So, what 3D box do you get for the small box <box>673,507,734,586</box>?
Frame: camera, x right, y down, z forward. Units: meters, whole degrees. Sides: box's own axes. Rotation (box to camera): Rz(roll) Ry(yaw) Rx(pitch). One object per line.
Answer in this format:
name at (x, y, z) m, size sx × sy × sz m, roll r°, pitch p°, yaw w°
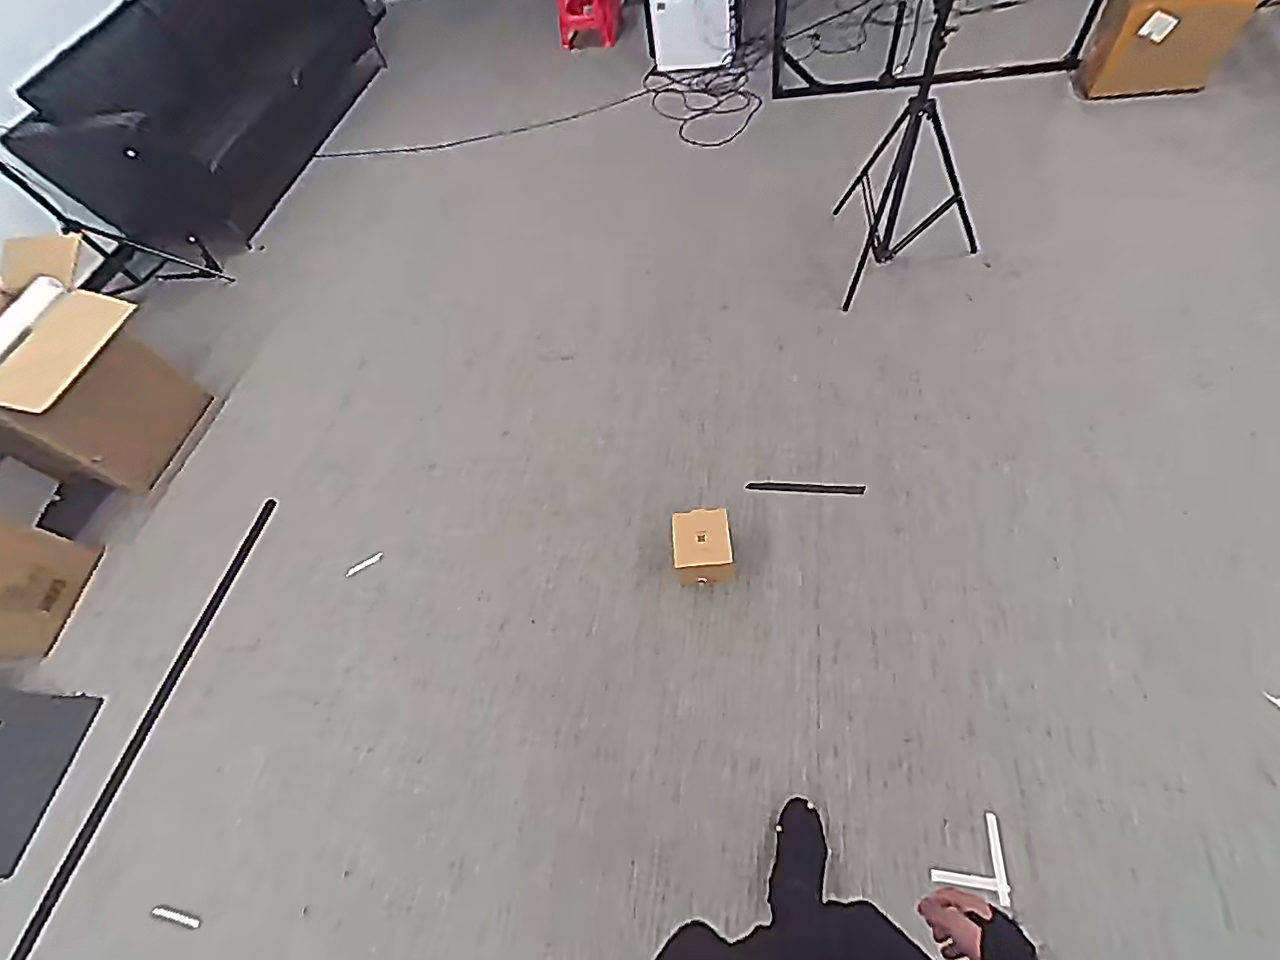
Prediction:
small box at (0.192, 0.202, 1.620) m, size 0.168 × 0.176 × 0.179 m, roll -6°, pitch 59°, yaw 8°
